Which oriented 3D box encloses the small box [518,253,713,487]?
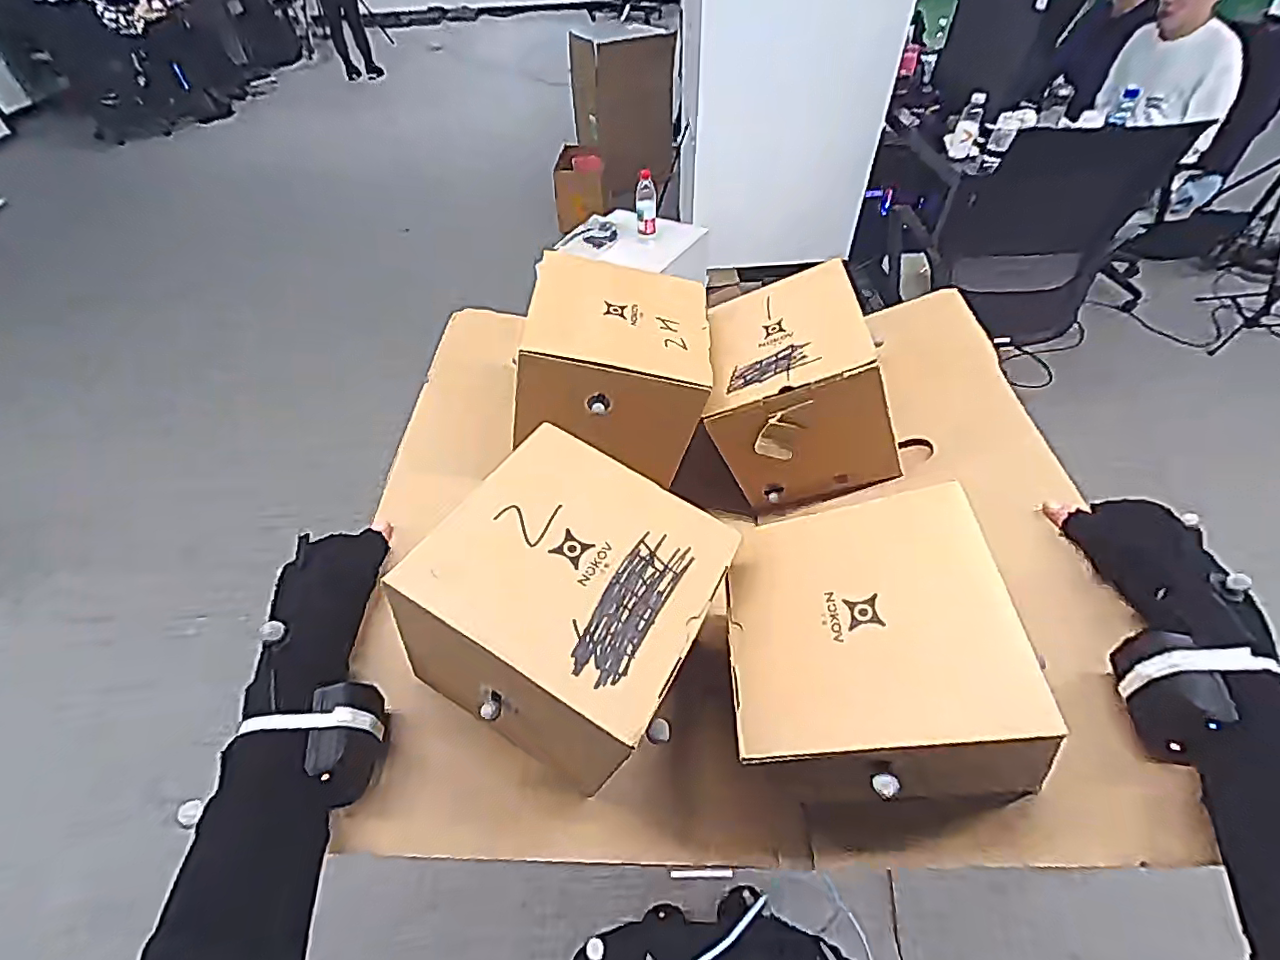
[{"bbox_3d":[-0.031,-0.110,0.584,0.179,0.176,0.168,10,52,-8],"label":"small box"}]
